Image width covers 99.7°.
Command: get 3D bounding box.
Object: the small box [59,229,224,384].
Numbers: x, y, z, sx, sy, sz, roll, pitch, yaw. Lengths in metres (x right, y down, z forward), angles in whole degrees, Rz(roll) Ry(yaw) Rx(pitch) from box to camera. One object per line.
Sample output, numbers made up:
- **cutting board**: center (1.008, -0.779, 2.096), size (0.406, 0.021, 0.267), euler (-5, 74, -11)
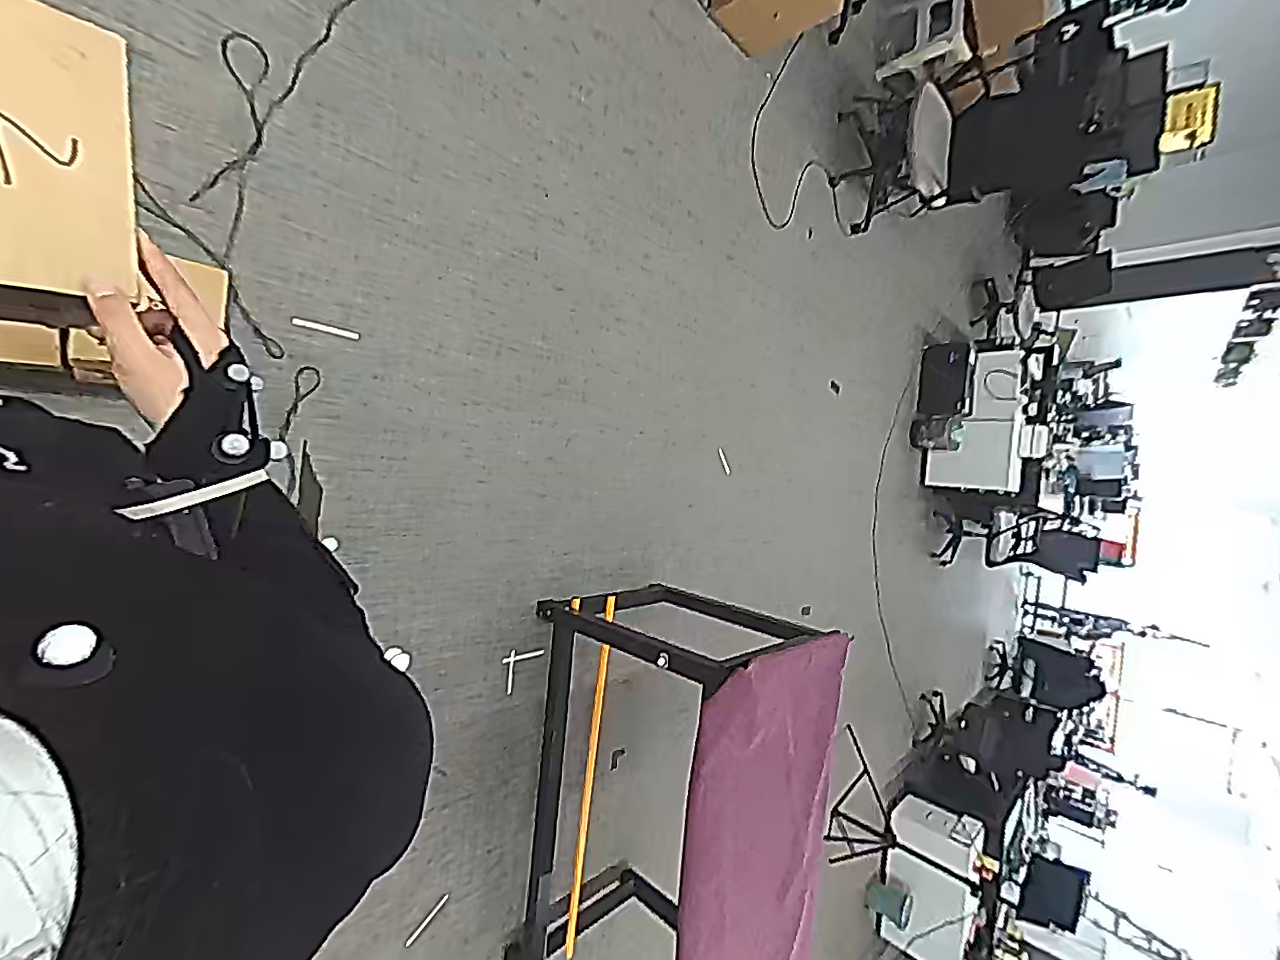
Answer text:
- **small box**: center (-0.768, -0.251, 0.837), size (0.168, 0.176, 0.179), euler (6, 89, -47)
